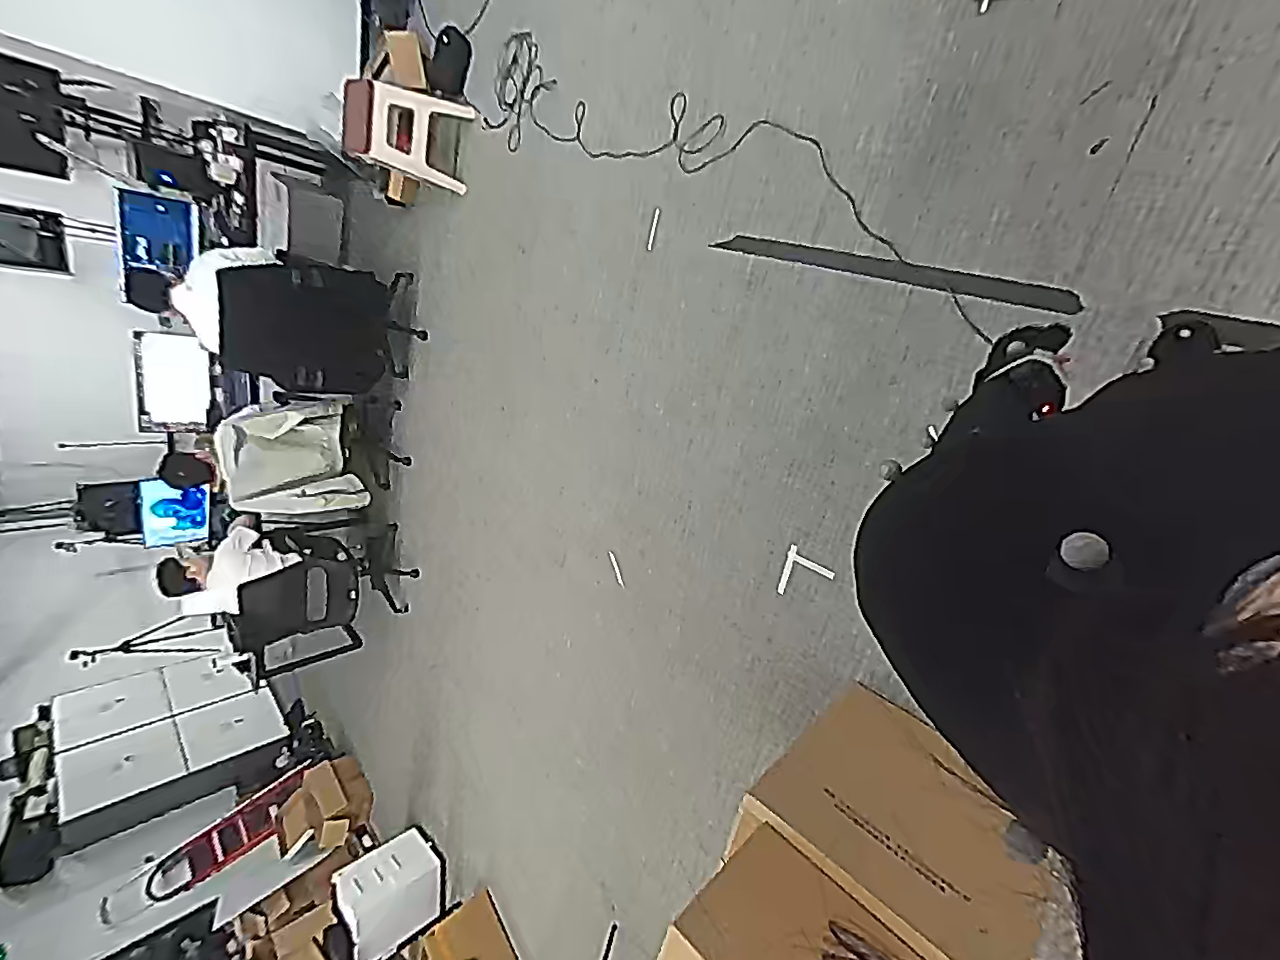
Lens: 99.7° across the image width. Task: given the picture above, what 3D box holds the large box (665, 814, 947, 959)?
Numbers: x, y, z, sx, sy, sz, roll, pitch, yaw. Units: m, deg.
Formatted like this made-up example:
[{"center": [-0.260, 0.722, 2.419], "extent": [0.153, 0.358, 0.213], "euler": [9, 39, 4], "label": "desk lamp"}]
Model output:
[{"center": [0.287, 0.916, 0.951], "extent": [0.408, 0.320, 0.320], "euler": [26, 113, 39], "label": "large box"}]
